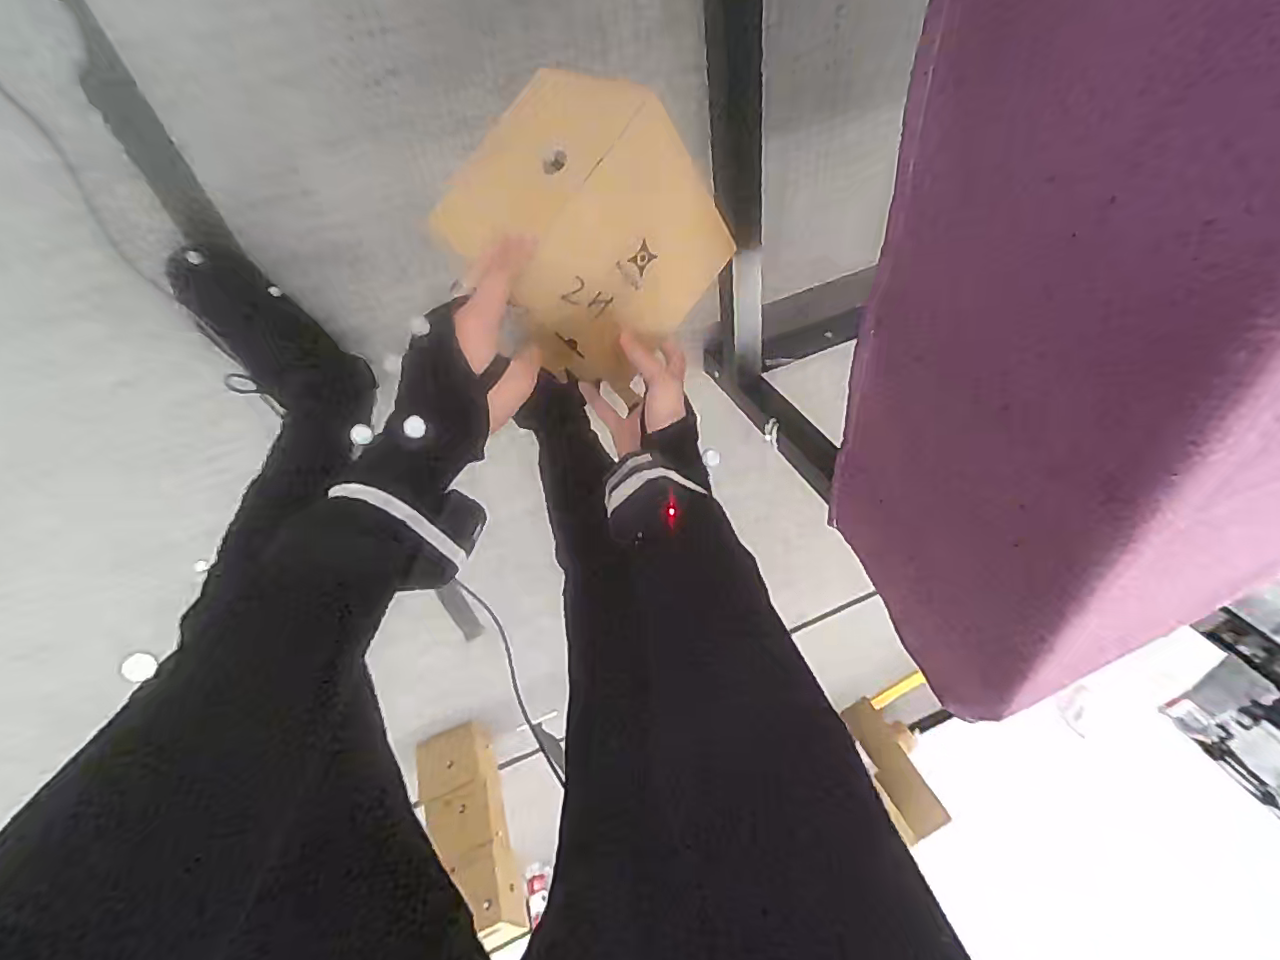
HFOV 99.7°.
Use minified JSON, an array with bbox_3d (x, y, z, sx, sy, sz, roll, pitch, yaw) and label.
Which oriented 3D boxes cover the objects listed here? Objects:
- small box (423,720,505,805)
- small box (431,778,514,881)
[{"bbox_3d":[-0.513,0.834,1.569,0.179,0.176,0.168,-22,135,-7],"label":"small box"},{"bbox_3d":[-0.453,0.942,1.463,0.168,0.176,0.179,-18,134,-10],"label":"small box"}]
